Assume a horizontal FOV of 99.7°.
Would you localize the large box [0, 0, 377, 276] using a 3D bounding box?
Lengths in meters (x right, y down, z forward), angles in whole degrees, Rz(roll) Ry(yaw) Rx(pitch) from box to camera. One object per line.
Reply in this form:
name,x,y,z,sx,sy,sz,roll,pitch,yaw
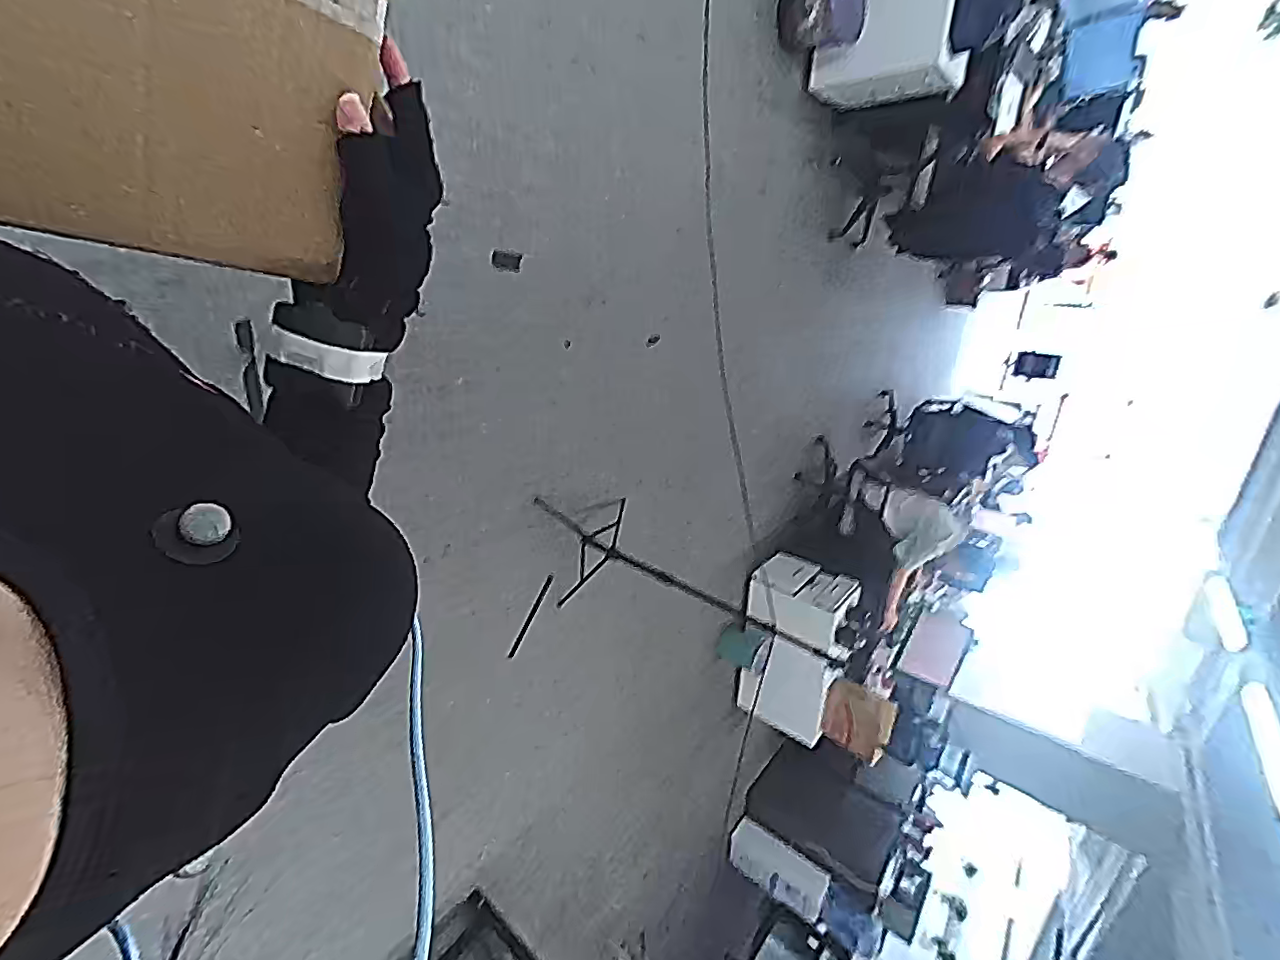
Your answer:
large box,-0.382,-0.334,0.239,0.408,0.320,0.320,-6,131,-50
